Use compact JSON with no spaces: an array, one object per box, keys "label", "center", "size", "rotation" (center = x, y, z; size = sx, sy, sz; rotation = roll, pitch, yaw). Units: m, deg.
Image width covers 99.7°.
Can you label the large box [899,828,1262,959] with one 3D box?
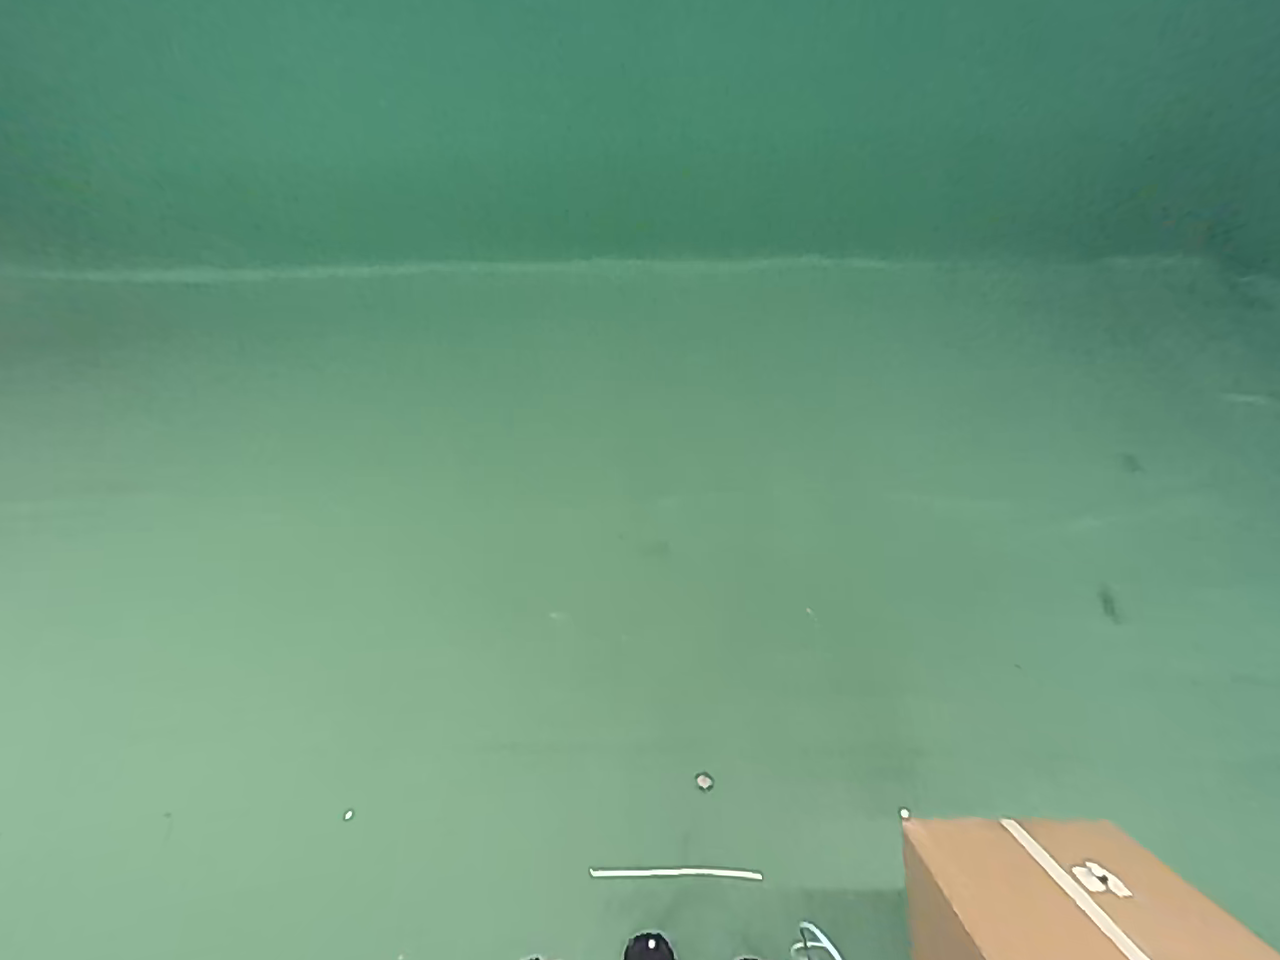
[{"label":"large box","center":[0.555,0.694,0.643],"size":[0.320,0.408,0.320],"rotation":[-2,87,6]}]
